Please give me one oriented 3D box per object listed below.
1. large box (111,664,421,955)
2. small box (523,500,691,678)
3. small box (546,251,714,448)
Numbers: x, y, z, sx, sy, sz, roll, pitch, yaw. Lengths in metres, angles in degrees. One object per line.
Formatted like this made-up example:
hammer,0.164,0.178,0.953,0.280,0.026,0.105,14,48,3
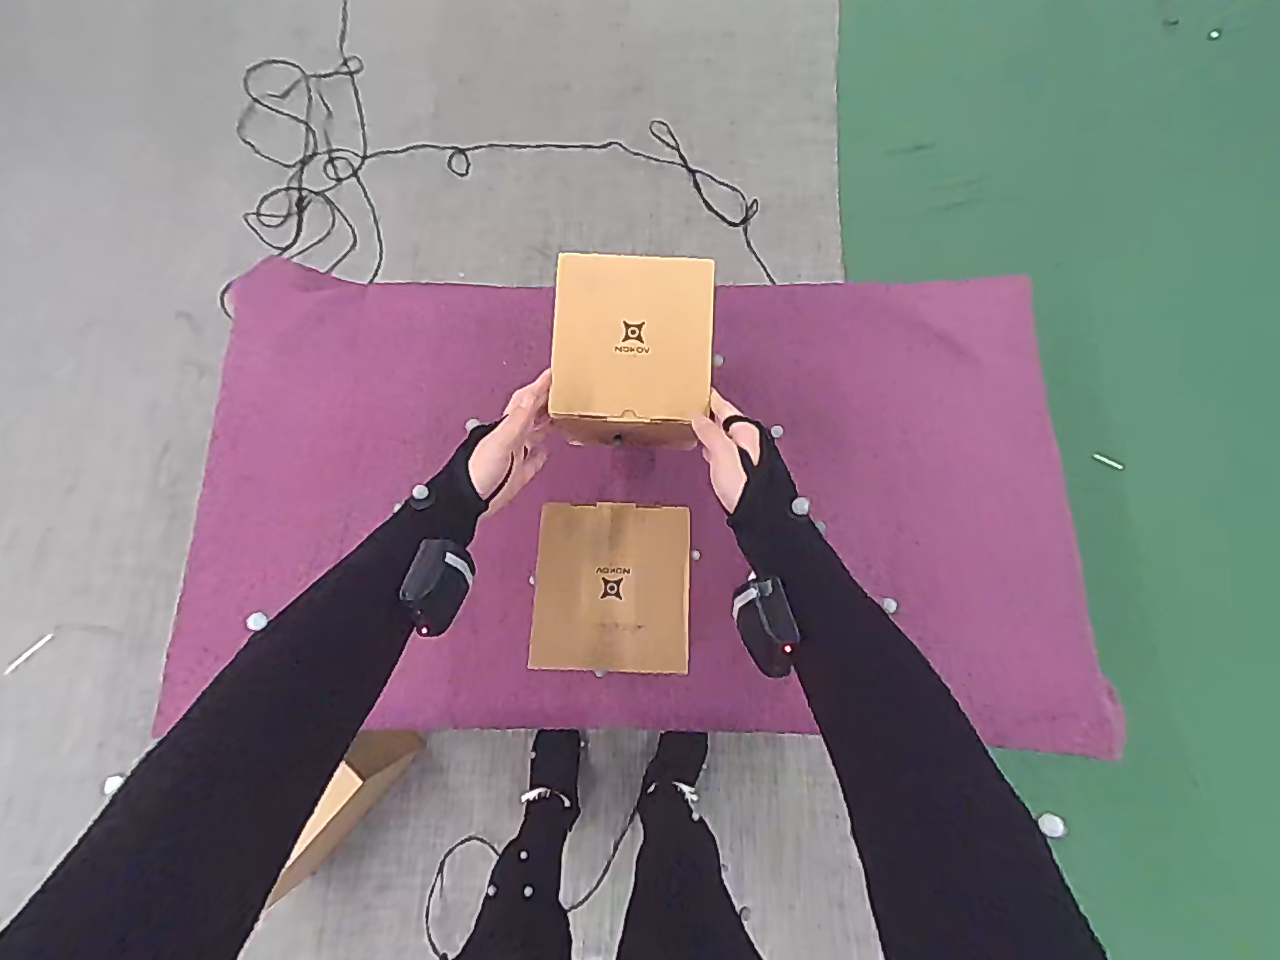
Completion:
large box,-0.786,0.677,1.200,0.320,0.320,0.408,40,79,9
small box,-0.030,0.130,0.637,0.168,0.176,0.179,2,75,2
small box,-0.010,-0.139,0.628,0.168,0.176,0.179,2,86,0
